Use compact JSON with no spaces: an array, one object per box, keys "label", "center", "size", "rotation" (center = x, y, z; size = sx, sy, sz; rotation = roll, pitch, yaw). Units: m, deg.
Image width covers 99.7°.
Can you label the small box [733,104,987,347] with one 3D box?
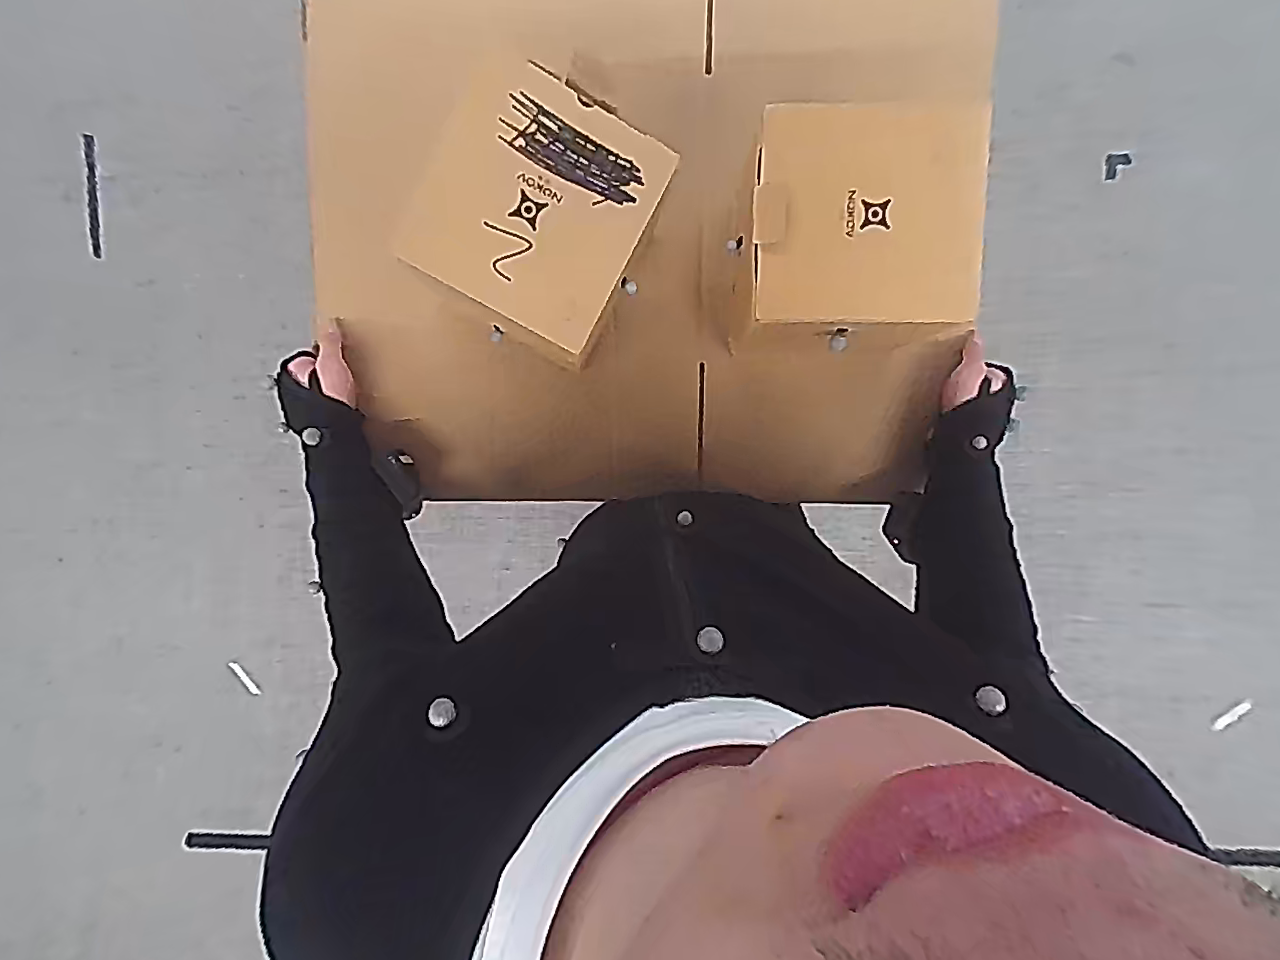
[{"label":"small box","center":[0.189,-0.224,0.516],"size":[0.179,0.176,0.168],"rotation":[1,95,3]}]
